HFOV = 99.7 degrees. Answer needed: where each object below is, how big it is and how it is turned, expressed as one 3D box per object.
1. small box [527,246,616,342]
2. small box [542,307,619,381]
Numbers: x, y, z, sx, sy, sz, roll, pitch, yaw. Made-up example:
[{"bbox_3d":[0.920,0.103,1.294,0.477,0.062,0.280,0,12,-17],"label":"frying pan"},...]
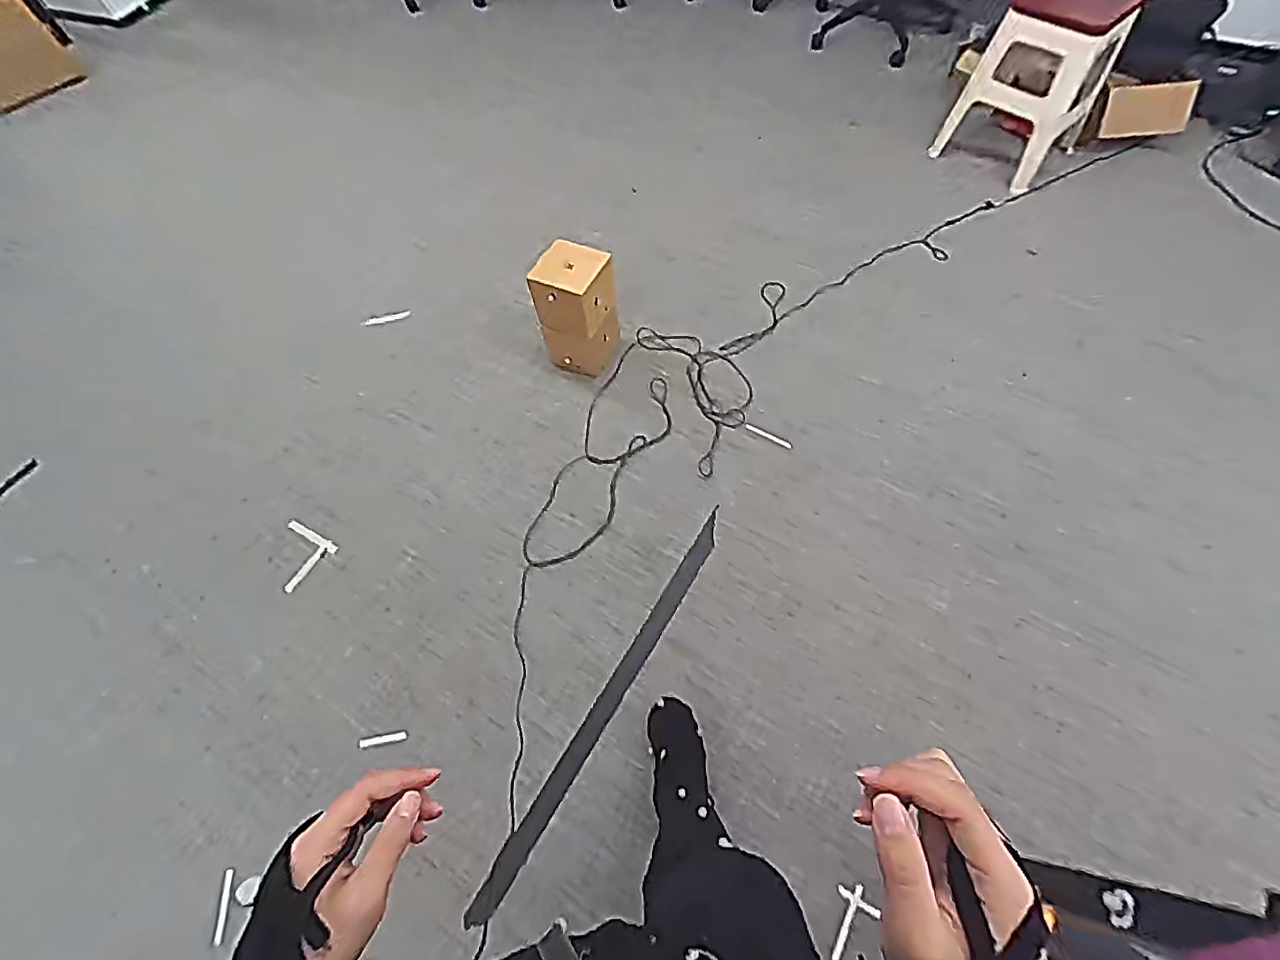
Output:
[{"bbox_3d":[-0.180,-0.511,1.504,0.179,0.176,0.168,21,66,16],"label":"small box"},{"bbox_3d":[-0.173,-0.435,1.647,0.168,0.176,0.179,20,66,15],"label":"small box"}]
